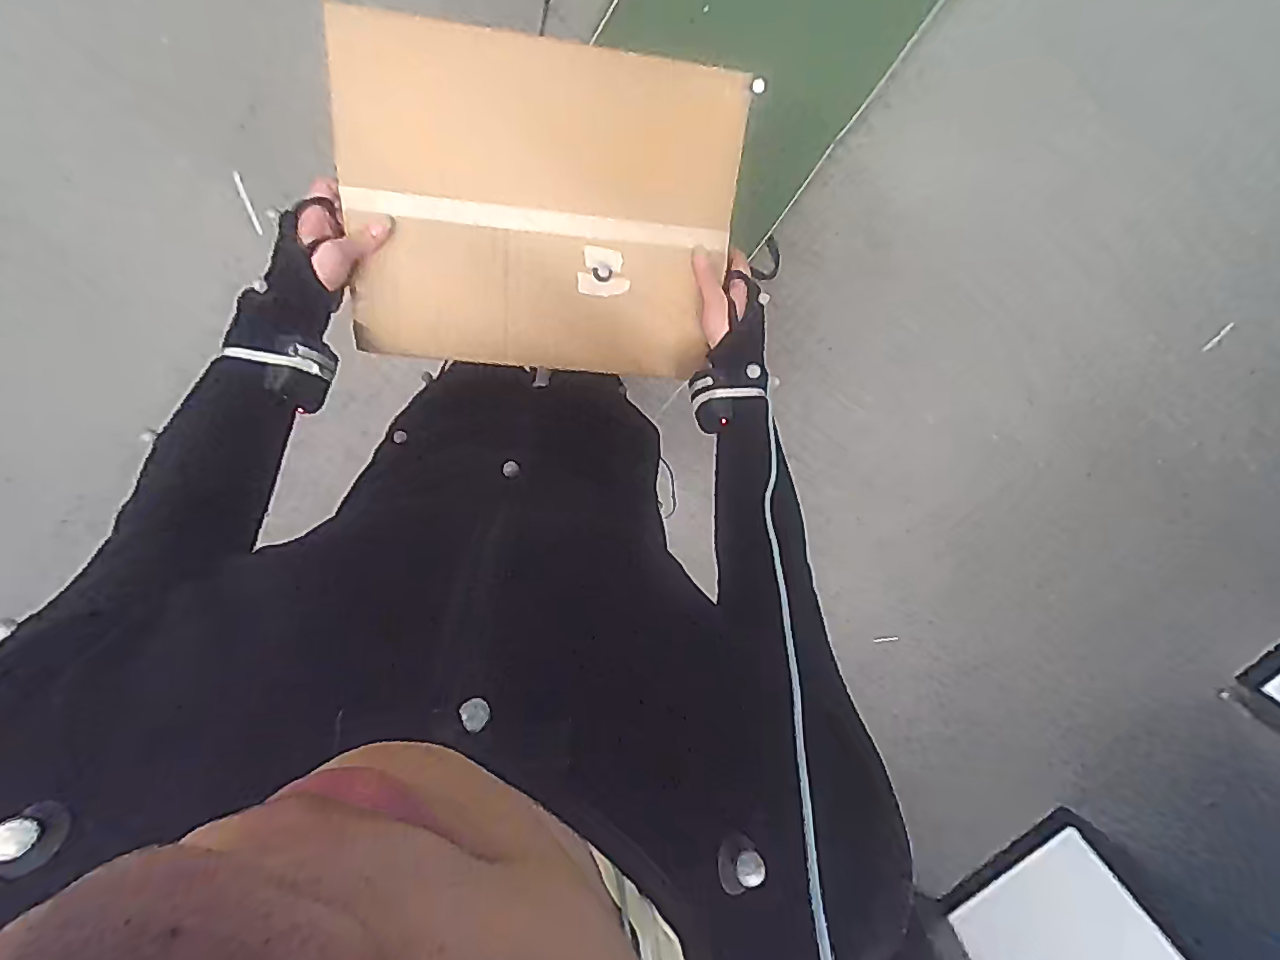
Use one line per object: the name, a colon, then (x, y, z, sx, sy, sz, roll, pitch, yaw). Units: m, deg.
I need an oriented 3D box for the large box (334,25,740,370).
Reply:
large box: (-0.121, -0.338, 0.724, 0.408, 0.320, 0.320, 2, 114, -8)
